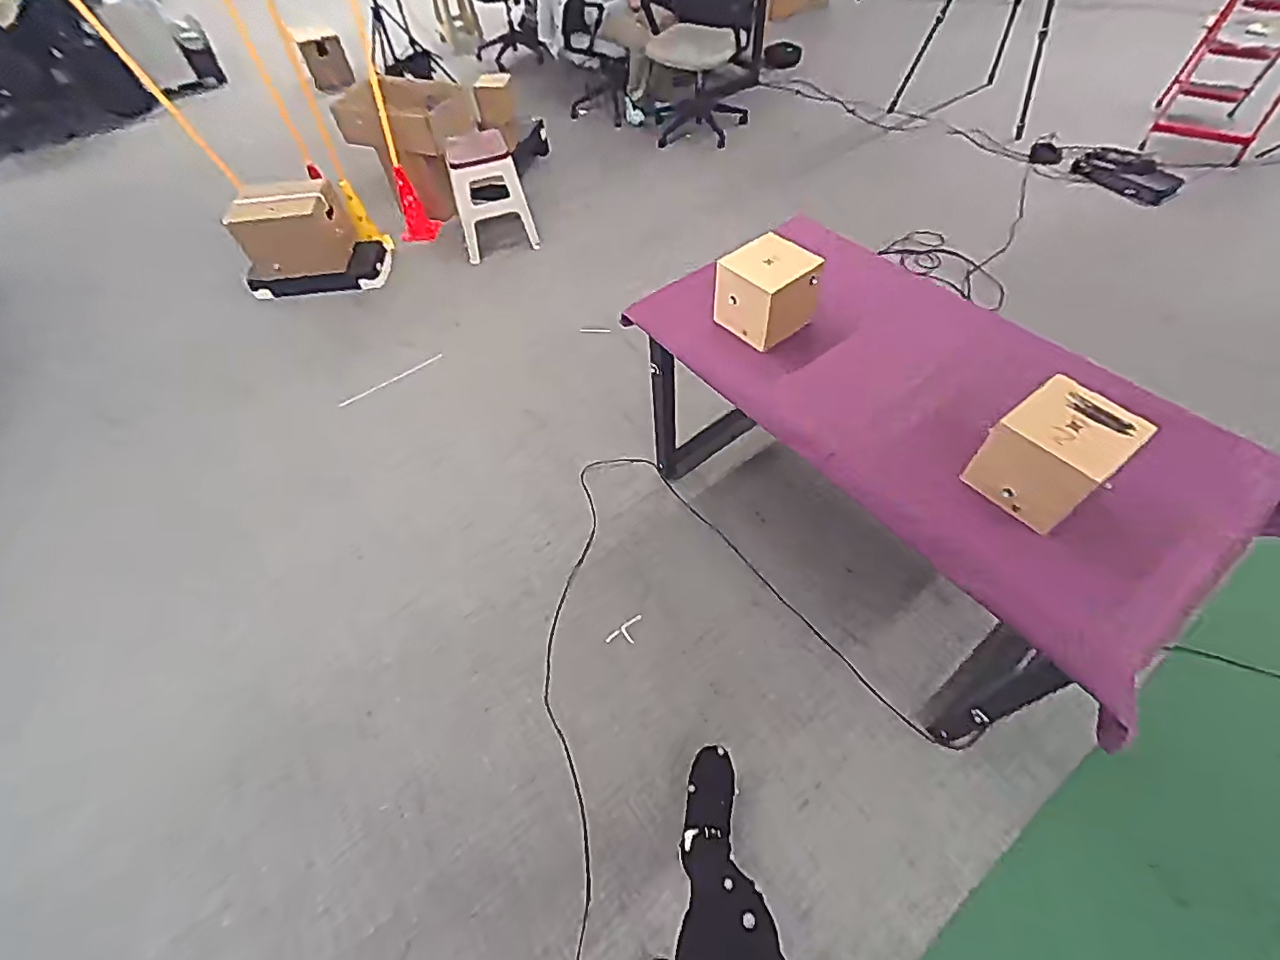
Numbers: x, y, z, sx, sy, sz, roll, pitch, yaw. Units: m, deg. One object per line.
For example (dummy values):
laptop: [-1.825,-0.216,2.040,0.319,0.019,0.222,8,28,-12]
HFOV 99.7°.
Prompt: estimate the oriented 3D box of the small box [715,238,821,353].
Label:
small box: [0.290,-0.427,1.265,0.179,0.176,0.168,-34,59,-21]
